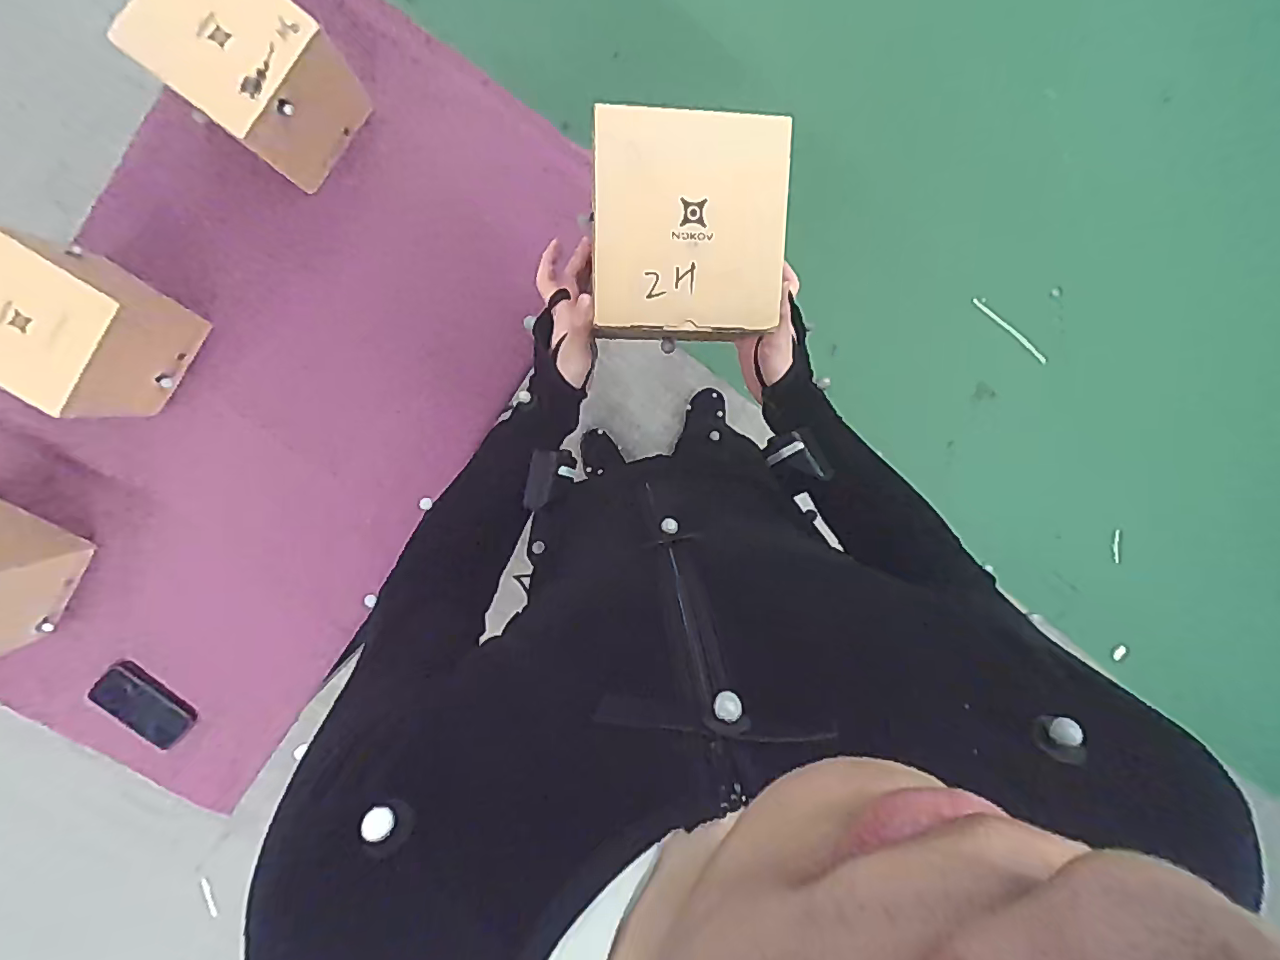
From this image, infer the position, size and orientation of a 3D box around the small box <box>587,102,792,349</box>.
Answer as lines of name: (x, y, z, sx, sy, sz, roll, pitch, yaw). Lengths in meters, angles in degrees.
small box: (0.033, -0.225, 0.526, 0.168, 0.176, 0.179, 1, 100, -5)

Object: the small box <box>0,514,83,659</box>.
small box: (-0.941, 0.151, 0.733, 0.179, 0.176, 0.168, 30, 92, -6)

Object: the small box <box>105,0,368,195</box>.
small box: (-0.501, -0.514, 0.702, 0.179, 0.176, 0.168, 36, 93, -7)

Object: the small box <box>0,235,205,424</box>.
small box: (-0.749, -0.186, 0.717, 0.179, 0.176, 0.168, 33, 93, -8)
